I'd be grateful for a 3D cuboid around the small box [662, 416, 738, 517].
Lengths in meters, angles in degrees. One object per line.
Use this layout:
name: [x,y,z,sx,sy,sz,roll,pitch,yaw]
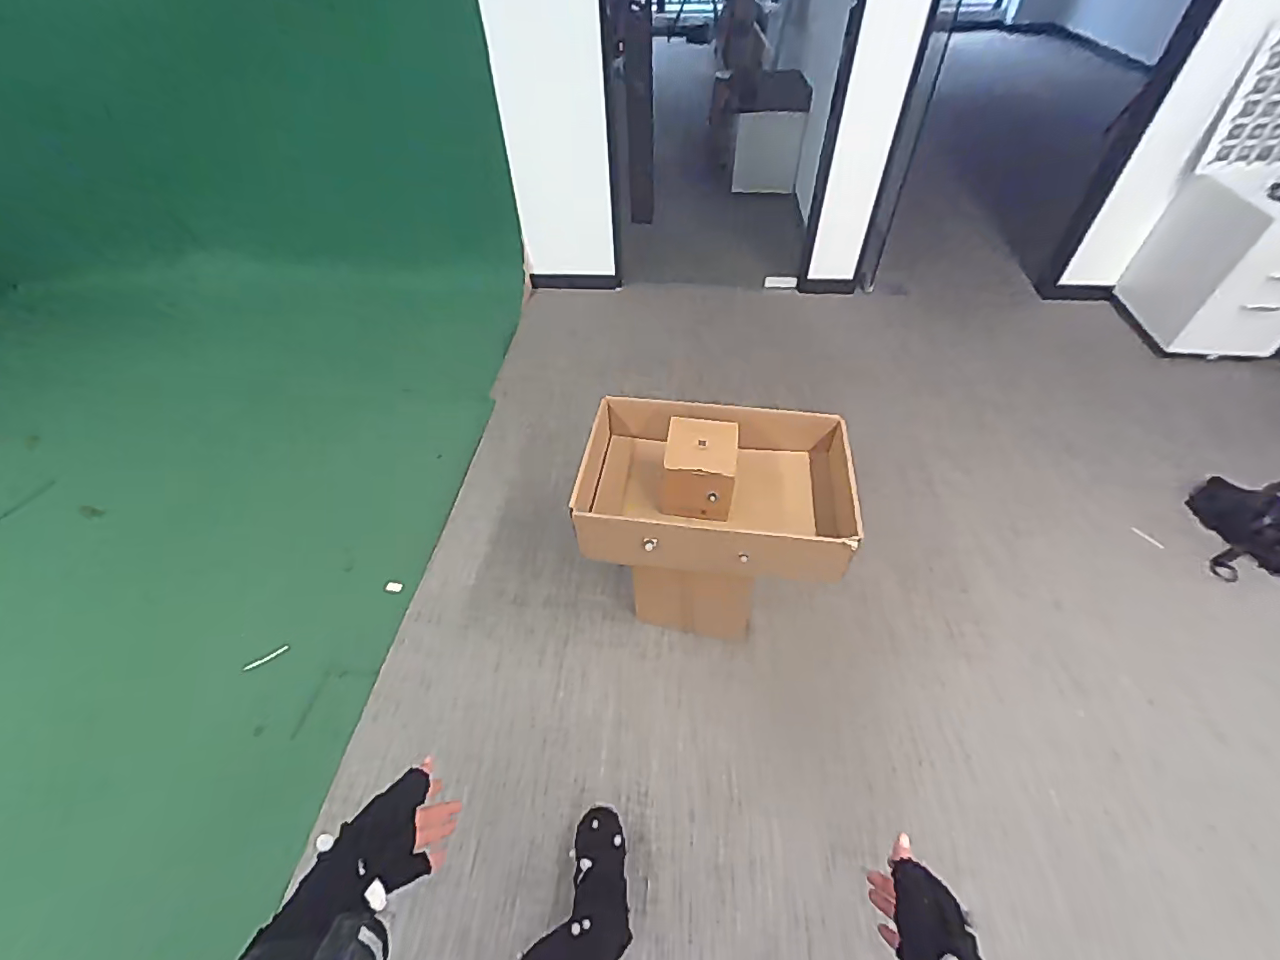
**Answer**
small box: [0.144,-0.030,1.307,0.168,0.176,0.179,7,47,4]
